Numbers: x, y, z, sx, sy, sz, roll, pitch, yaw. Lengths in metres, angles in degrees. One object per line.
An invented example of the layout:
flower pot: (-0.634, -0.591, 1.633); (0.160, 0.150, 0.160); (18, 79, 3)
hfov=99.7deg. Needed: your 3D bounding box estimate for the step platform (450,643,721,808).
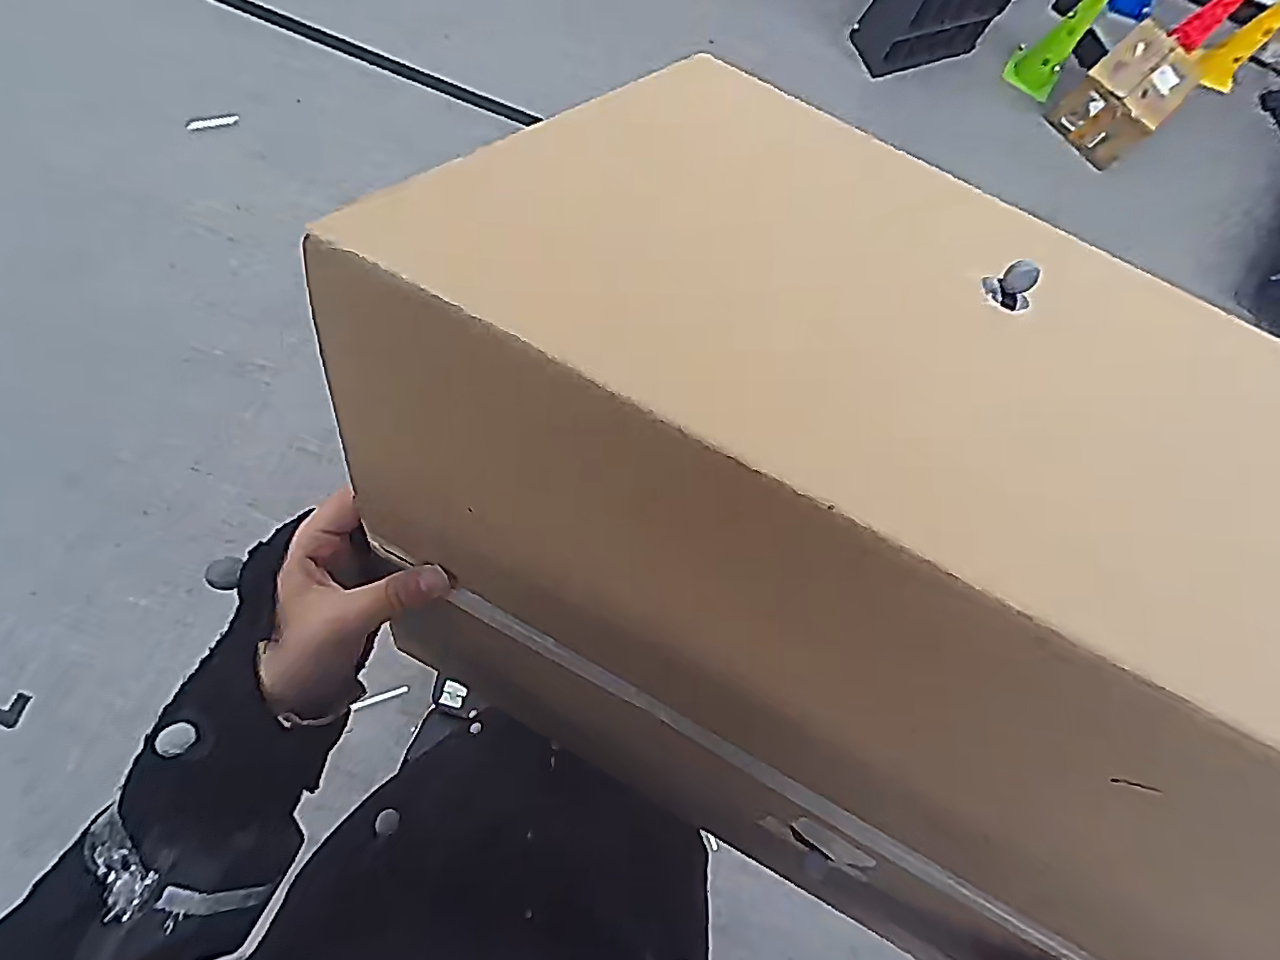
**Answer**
step platform: (-0.085, 0.478, 1.266); (0.684, 0.204, 0.286); (27, 75, -3)
